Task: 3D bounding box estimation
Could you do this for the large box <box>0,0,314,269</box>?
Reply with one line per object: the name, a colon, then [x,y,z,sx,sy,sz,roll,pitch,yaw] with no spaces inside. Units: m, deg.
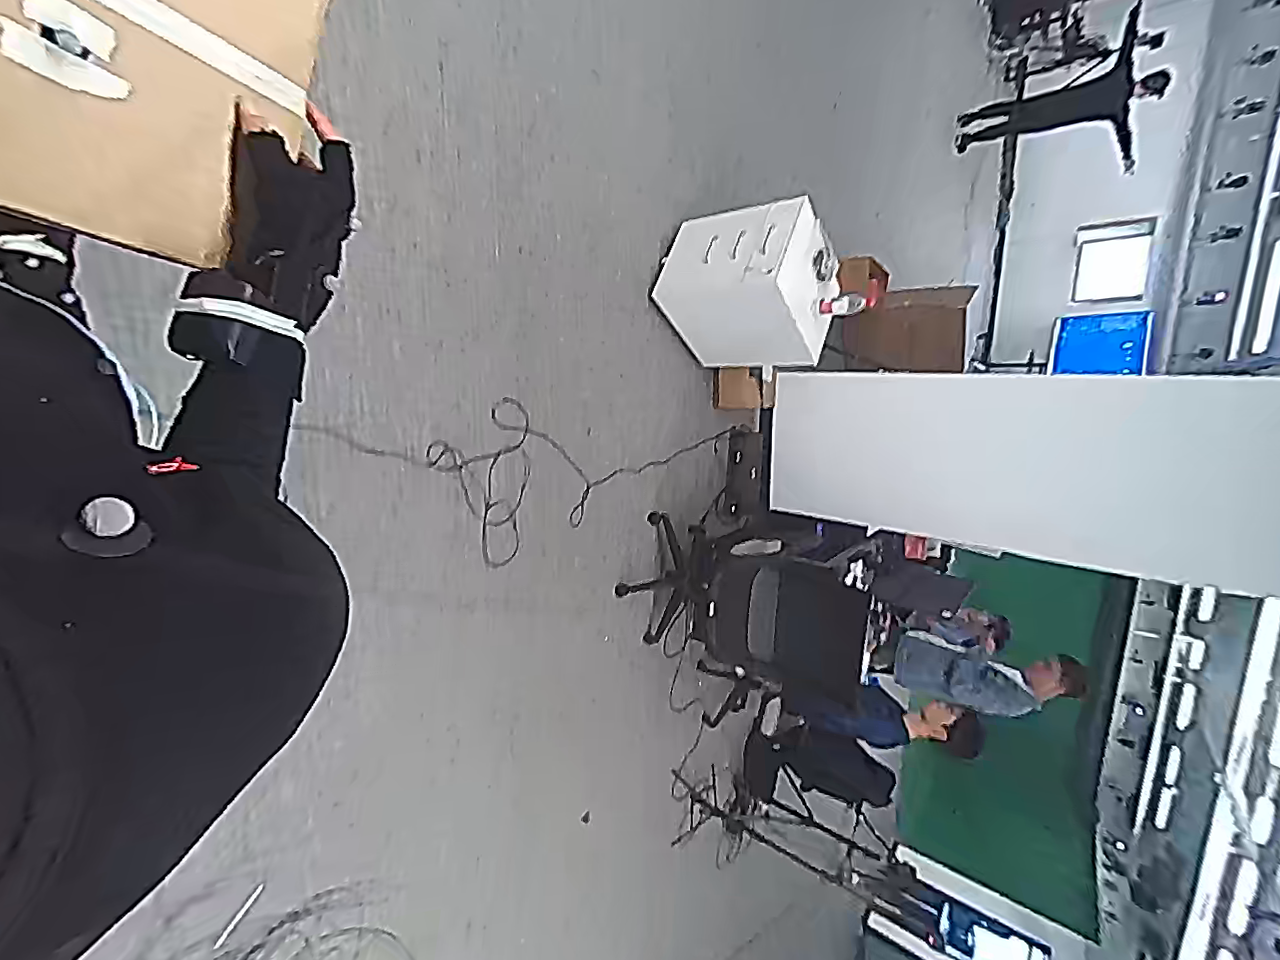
large box: [-0.527,-0.388,0.386,0.408,0.320,0.320,6,104,-56]
